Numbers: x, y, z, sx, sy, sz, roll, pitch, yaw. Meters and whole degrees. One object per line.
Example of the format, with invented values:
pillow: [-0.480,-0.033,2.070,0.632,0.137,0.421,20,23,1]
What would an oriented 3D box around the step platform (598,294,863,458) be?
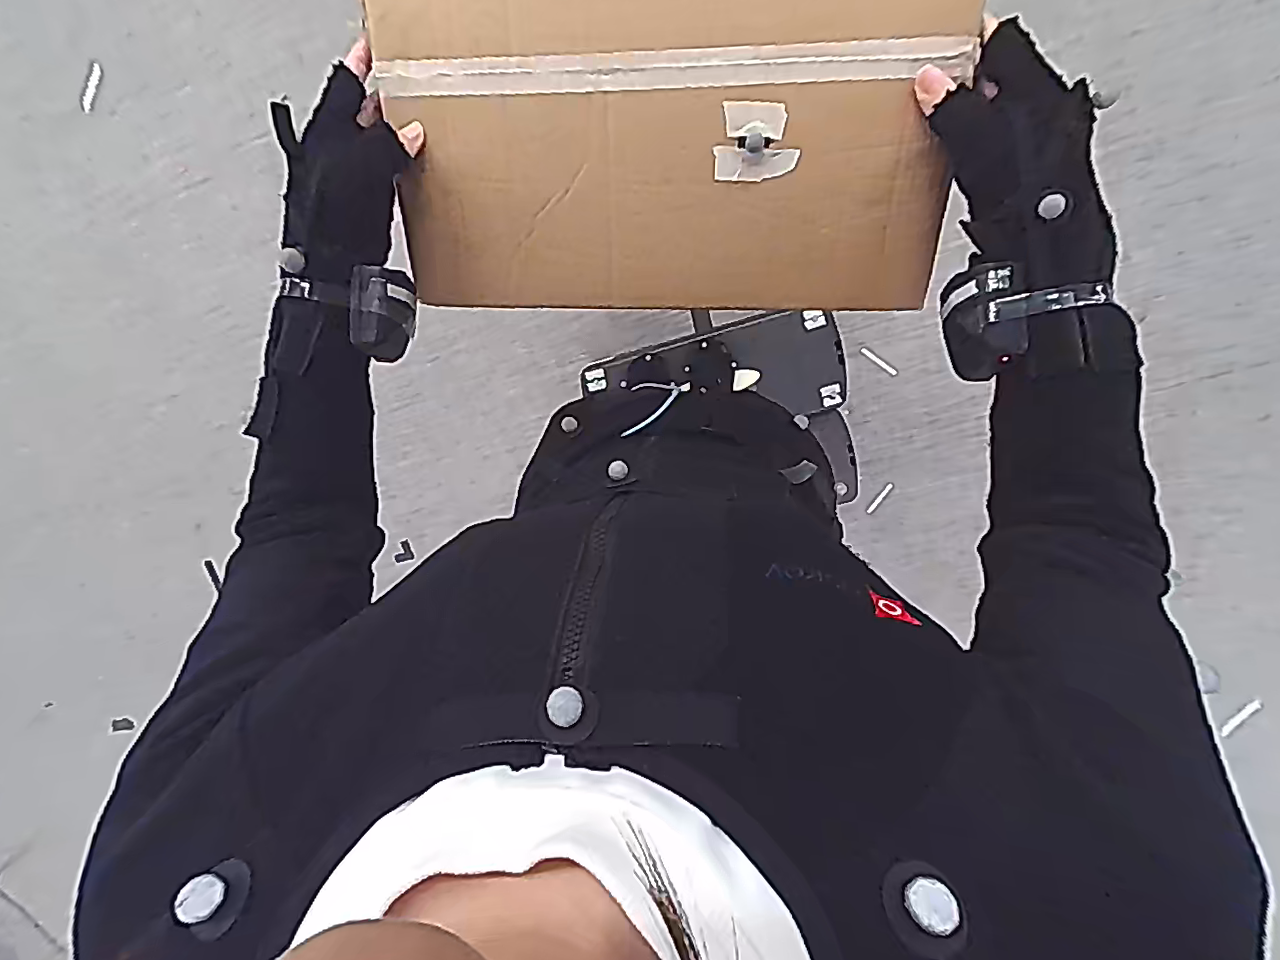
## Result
step platform: [0.233,-0.279,1.464,0.684,0.204,0.286,-15,103,9]

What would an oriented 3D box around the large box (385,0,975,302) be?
large box: [0.031,-0.353,0.512,0.408,0.320,0.320,2,117,5]
